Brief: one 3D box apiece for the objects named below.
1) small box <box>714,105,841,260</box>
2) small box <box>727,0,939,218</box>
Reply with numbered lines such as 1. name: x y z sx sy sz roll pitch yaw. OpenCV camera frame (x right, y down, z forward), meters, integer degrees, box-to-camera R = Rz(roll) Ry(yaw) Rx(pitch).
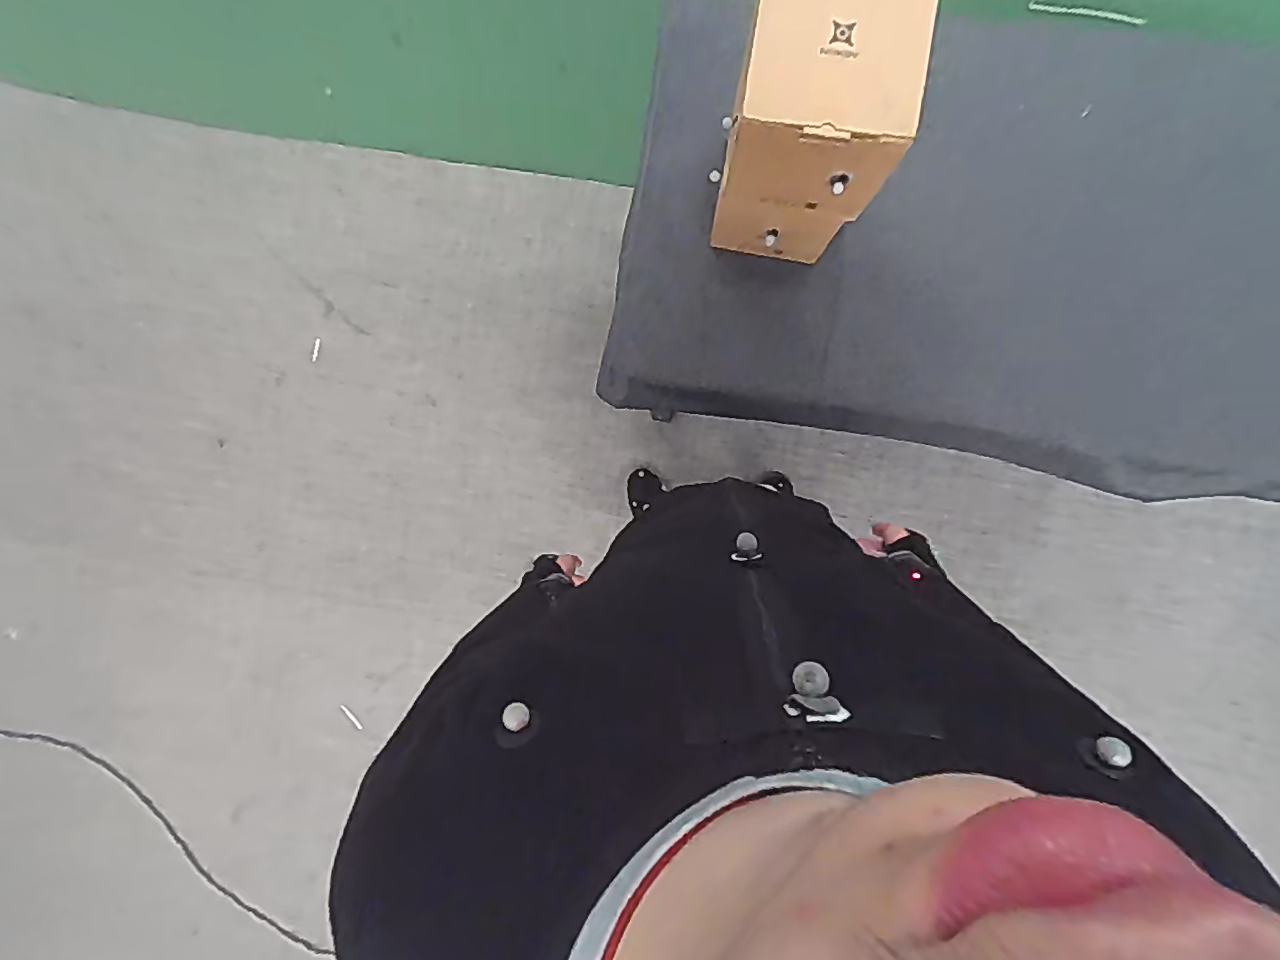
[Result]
1. small box: 0.201 -0.428 0.747 0.168 0.176 0.179 11 91 2
2. small box: 0.193 -0.412 0.585 0.168 0.176 0.179 8 90 1
